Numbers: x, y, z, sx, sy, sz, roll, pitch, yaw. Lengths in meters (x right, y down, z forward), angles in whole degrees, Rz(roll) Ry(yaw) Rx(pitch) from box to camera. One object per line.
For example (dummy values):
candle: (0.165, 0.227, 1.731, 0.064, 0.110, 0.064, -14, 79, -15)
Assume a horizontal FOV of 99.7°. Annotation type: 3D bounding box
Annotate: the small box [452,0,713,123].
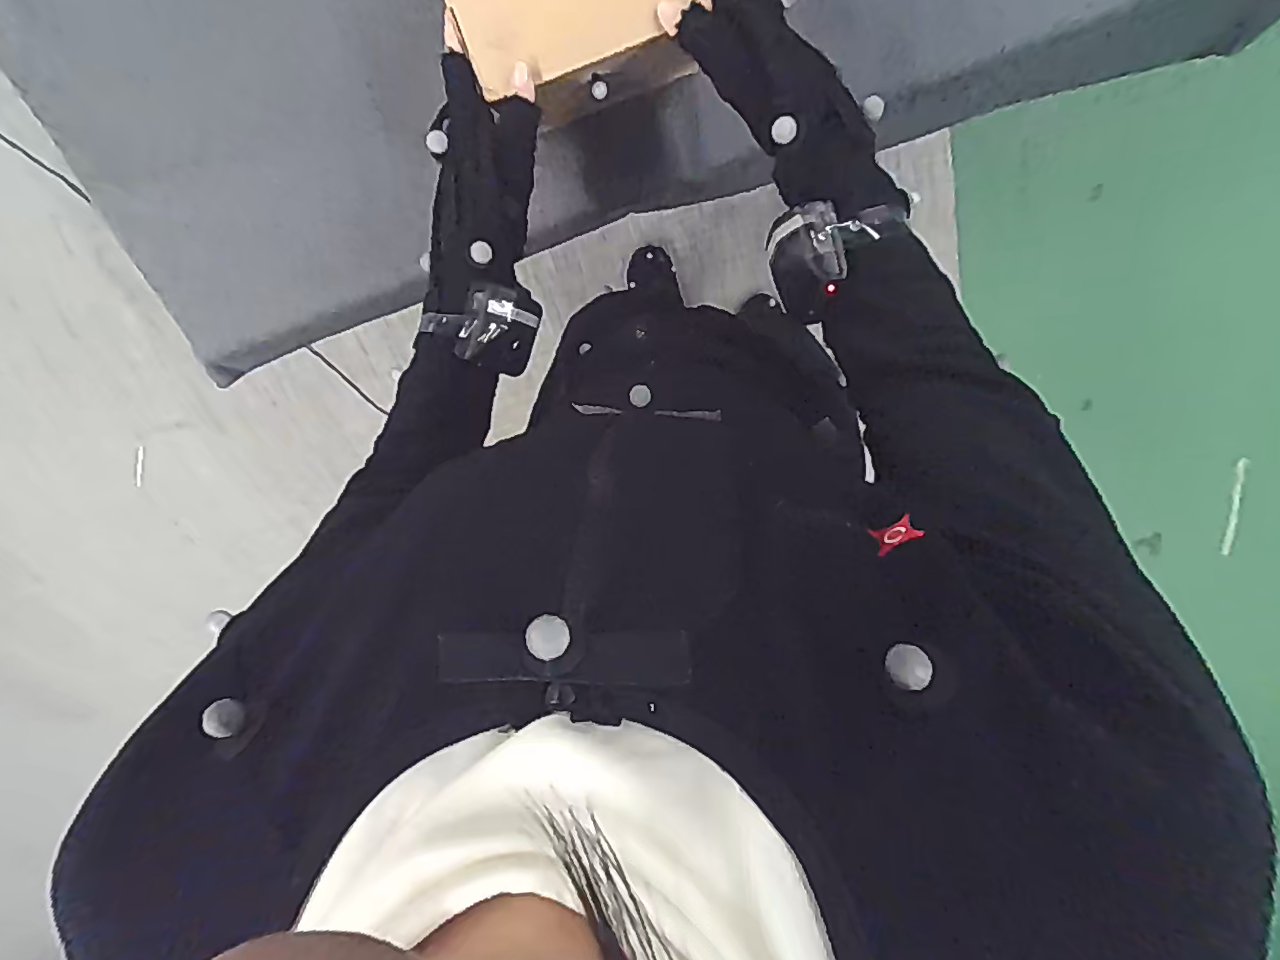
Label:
small box: (-0.052, -0.405, 0.419, 0.179, 0.176, 0.168, -17, 116, 8)
